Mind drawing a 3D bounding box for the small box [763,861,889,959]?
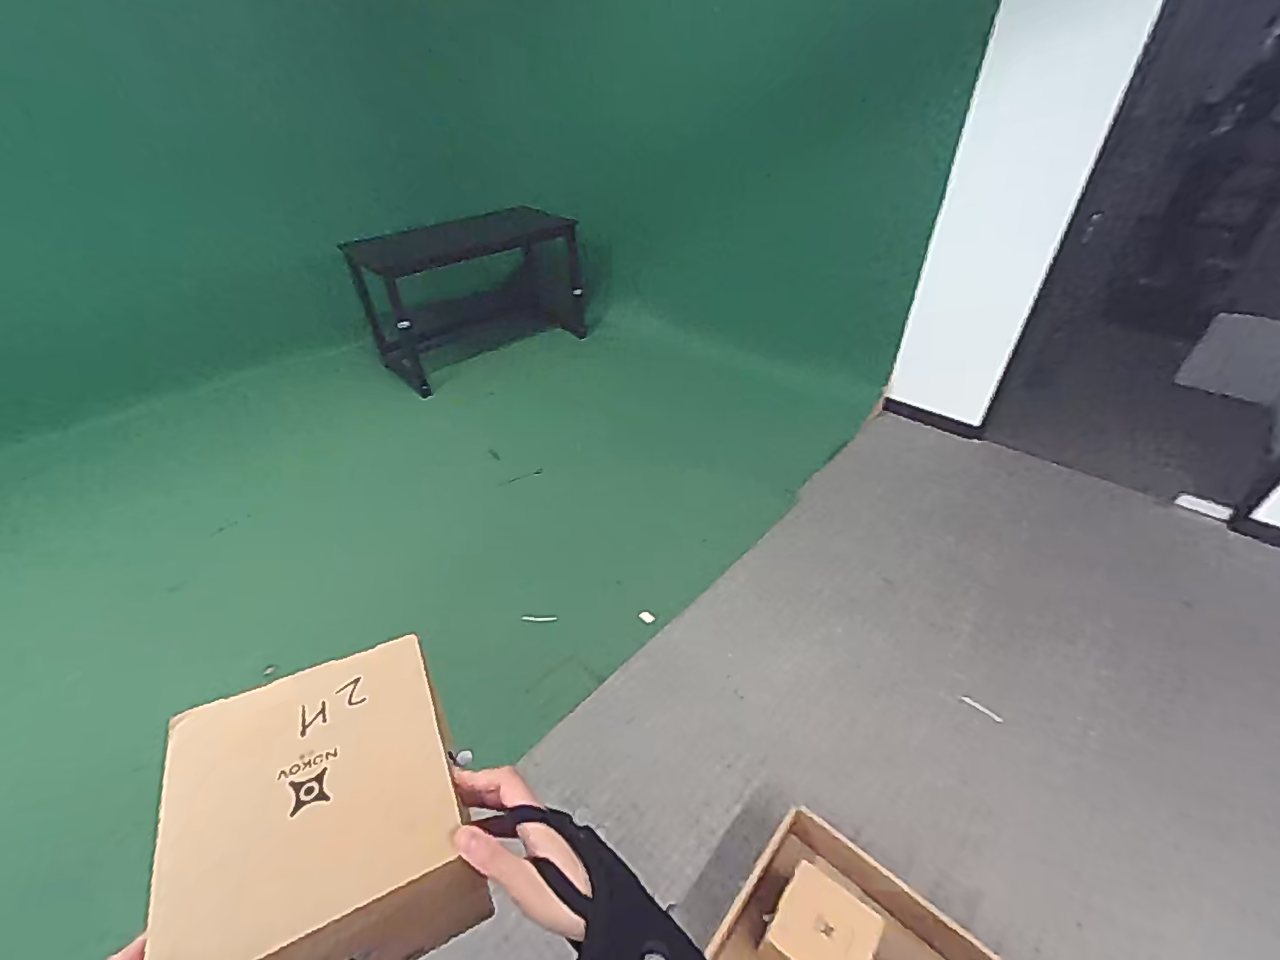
[{"bbox_3d":[0.364,0.925,1.086,0.179,0.176,0.168,26,48,29],"label":"small box"}]

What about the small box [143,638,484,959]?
[{"bbox_3d":[-0.227,0.262,0.412,0.168,0.176,0.179,-16,44,-24],"label":"small box"}]
